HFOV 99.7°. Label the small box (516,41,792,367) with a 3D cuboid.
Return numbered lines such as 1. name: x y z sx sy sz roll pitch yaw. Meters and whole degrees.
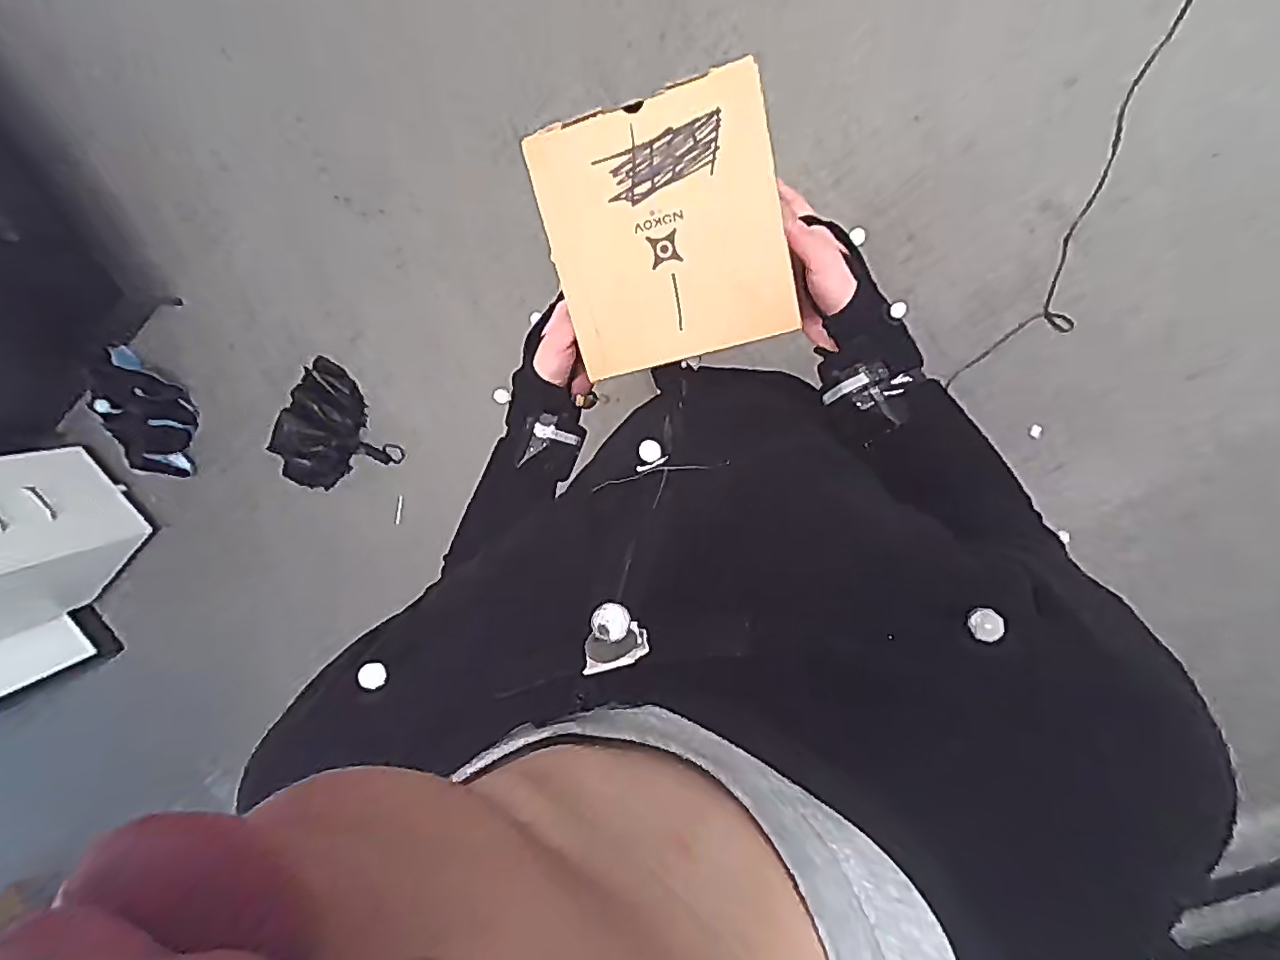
1. small box: 0.022 -0.208 0.454 0.168 0.176 0.179 -11 108 13
